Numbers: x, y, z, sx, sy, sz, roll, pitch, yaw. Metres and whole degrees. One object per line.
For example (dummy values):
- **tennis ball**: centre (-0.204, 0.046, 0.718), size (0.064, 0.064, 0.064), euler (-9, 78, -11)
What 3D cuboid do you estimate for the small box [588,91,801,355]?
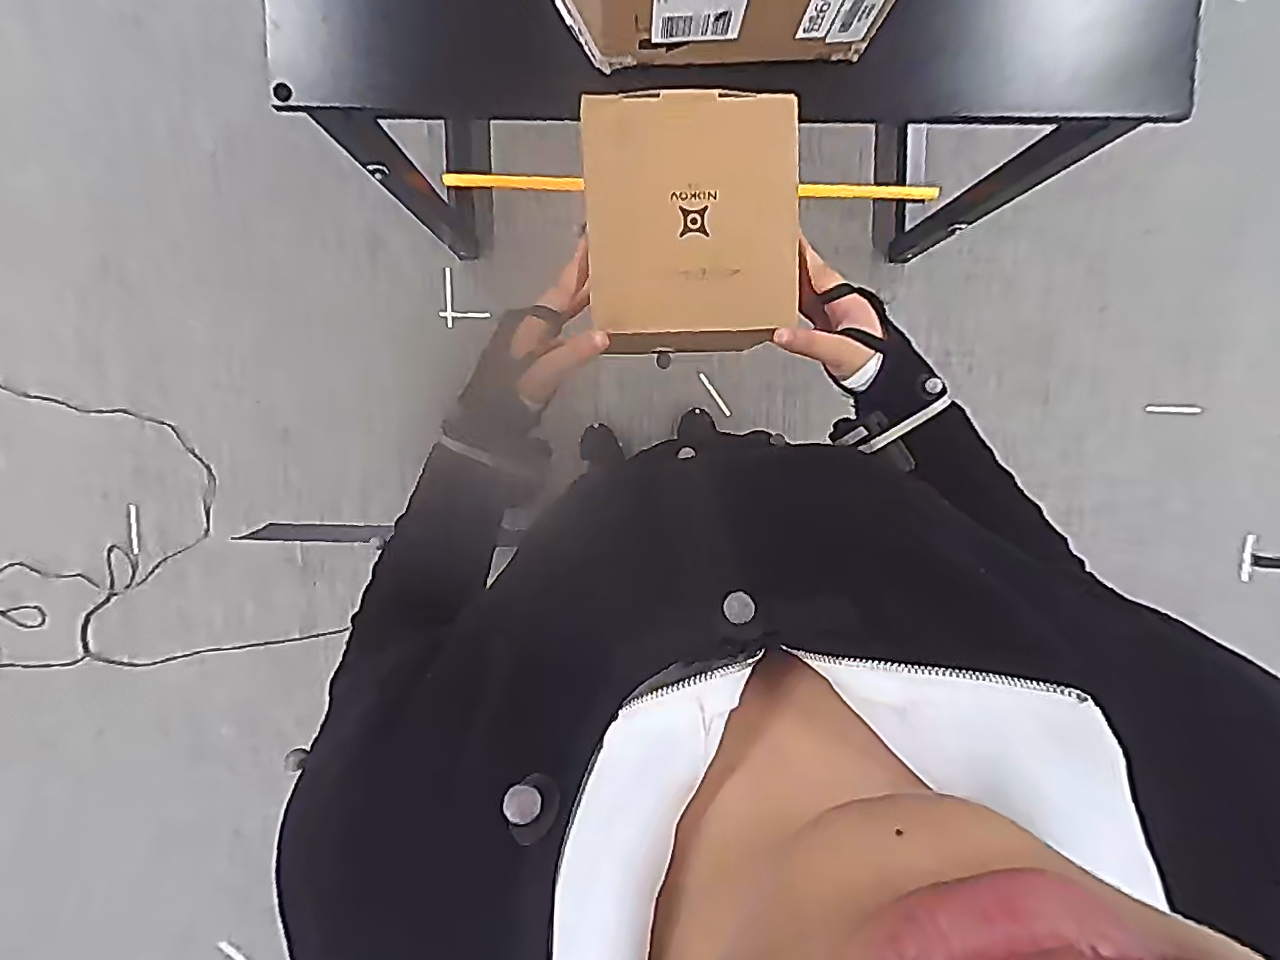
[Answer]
- **small box**: centre (0.037, -0.213, 0.493), size (0.168, 0.176, 0.179), euler (-3, 98, -3)
